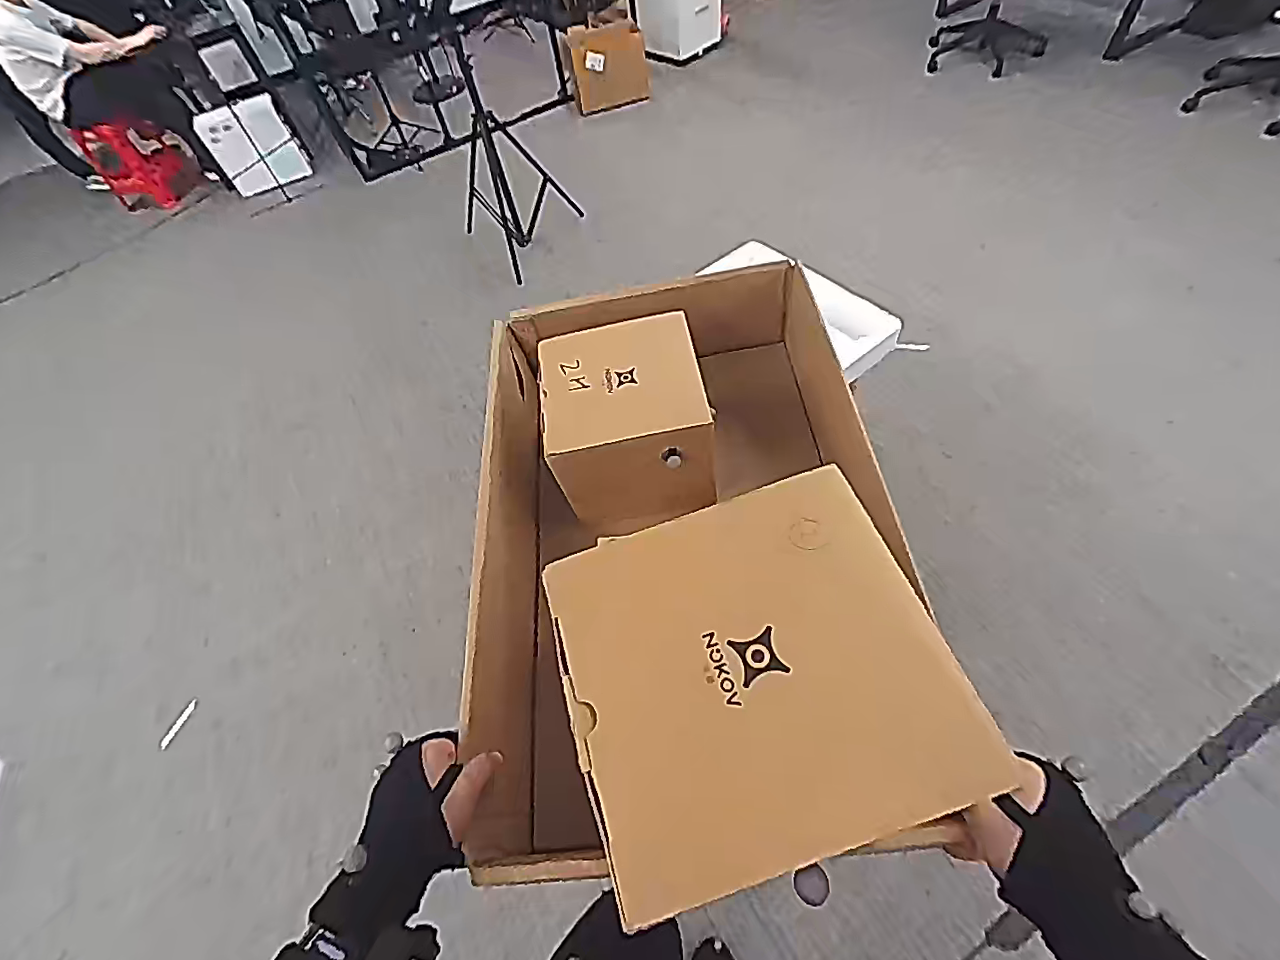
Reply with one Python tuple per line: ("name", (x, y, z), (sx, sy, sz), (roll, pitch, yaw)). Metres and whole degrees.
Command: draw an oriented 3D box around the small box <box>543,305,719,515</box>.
("small box", (-0.007, -0.076, 0.648), (0.179, 0.176, 0.168), (-11, 58, 3))
